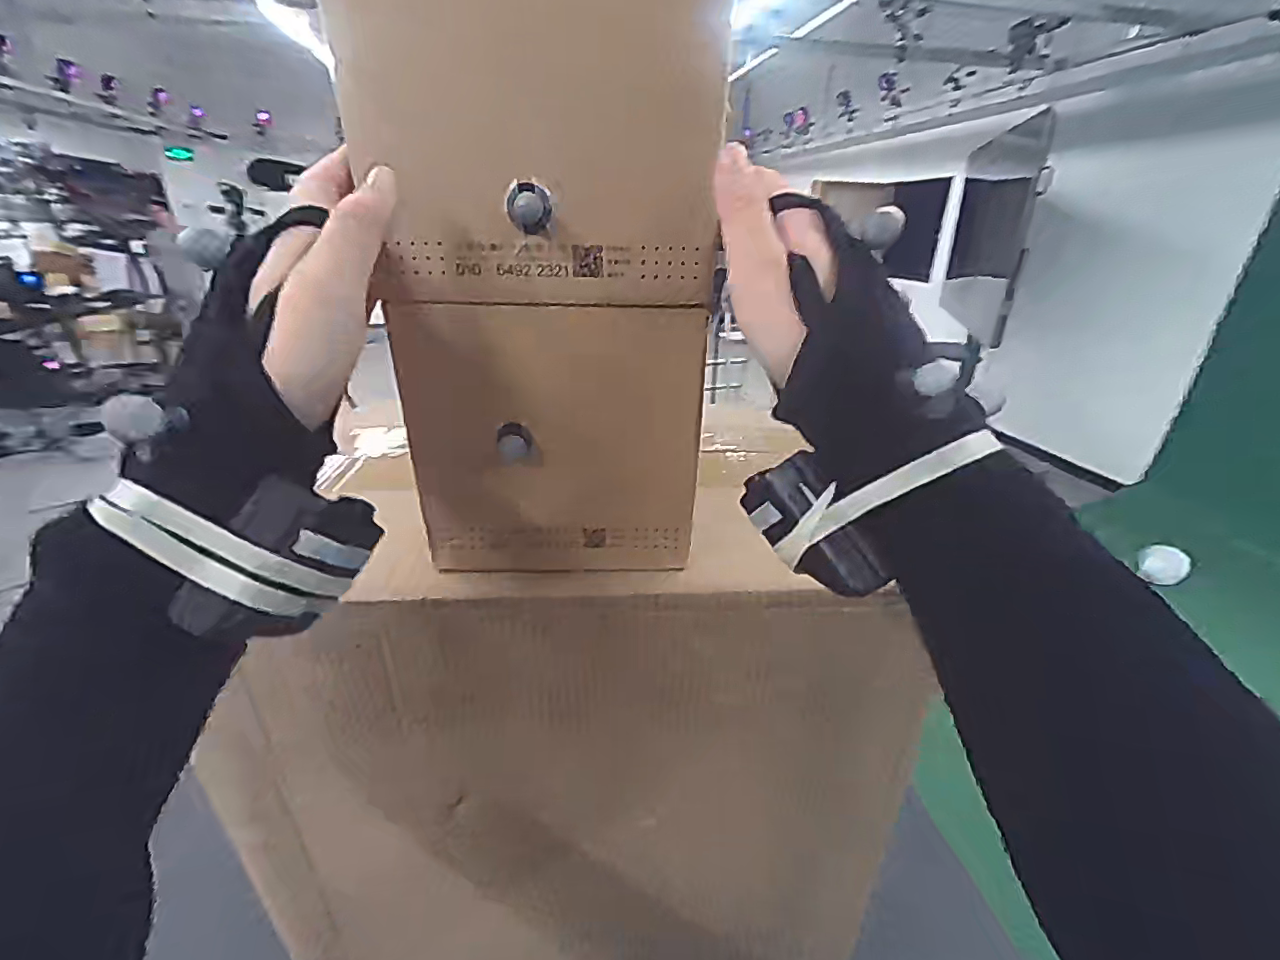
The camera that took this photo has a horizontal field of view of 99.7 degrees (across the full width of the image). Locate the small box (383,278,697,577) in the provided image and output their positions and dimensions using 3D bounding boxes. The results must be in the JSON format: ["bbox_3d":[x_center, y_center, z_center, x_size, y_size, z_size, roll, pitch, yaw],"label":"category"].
[{"bbox_3d":[-0.053,-0.045,0.385,0.168,0.176,0.179,0,27,-3],"label":"small box"}]
